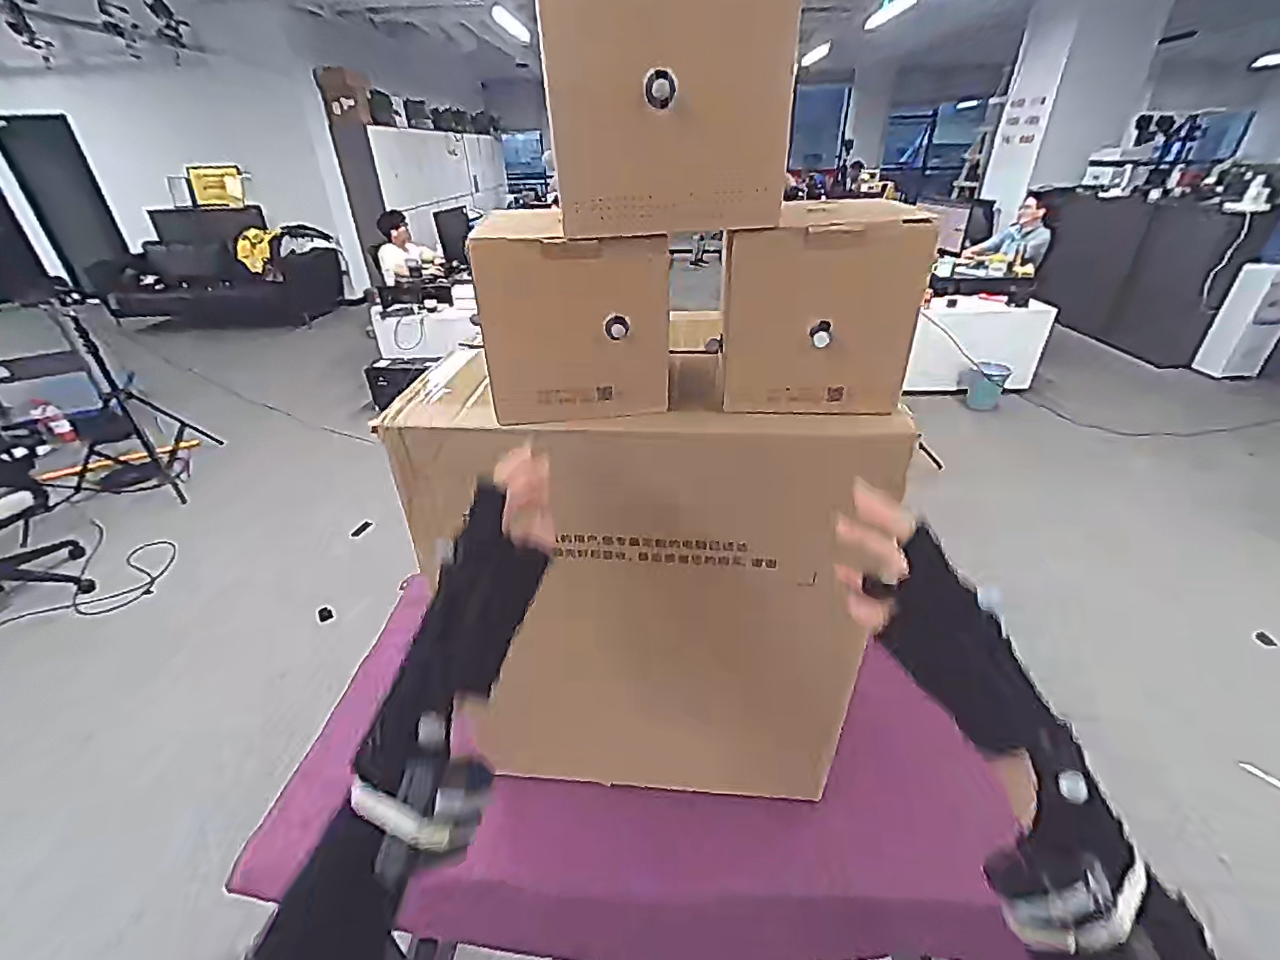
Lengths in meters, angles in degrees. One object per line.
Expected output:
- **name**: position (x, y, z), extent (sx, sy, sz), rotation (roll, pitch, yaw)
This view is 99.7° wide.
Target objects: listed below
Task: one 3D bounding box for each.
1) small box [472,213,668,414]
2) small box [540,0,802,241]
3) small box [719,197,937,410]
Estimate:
- **small box**: position (-0.064, -0.173, 0.554), extent (0.168, 0.176, 0.179), rotation (-4, 32, -7)
- **small box**: position (0.021, -0.308, 0.454), extent (0.179, 0.176, 0.168), rotation (-5, 33, 0)
- **small box**: position (0.168, -0.180, 0.548), extent (0.168, 0.176, 0.179), rotation (2, 33, 6)
